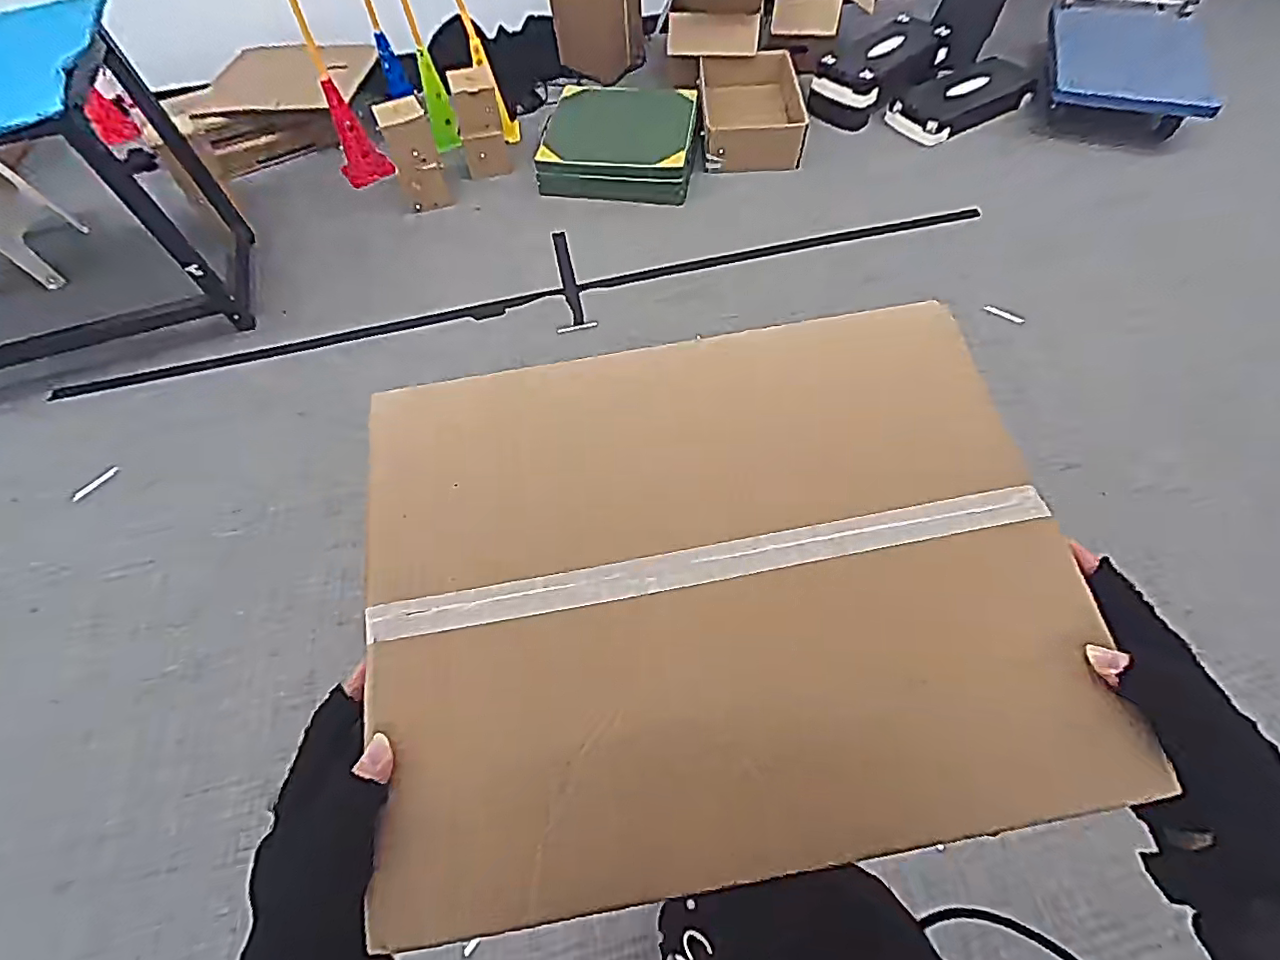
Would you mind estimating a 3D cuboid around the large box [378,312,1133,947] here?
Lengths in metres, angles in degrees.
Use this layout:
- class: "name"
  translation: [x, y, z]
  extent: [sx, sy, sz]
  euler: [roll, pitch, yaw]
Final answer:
- class: "large box"
  translation: [0.047, 0.108, 0.468]
  extent: [0.408, 0.320, 0.320]
  euler: [-11, 68, -2]
